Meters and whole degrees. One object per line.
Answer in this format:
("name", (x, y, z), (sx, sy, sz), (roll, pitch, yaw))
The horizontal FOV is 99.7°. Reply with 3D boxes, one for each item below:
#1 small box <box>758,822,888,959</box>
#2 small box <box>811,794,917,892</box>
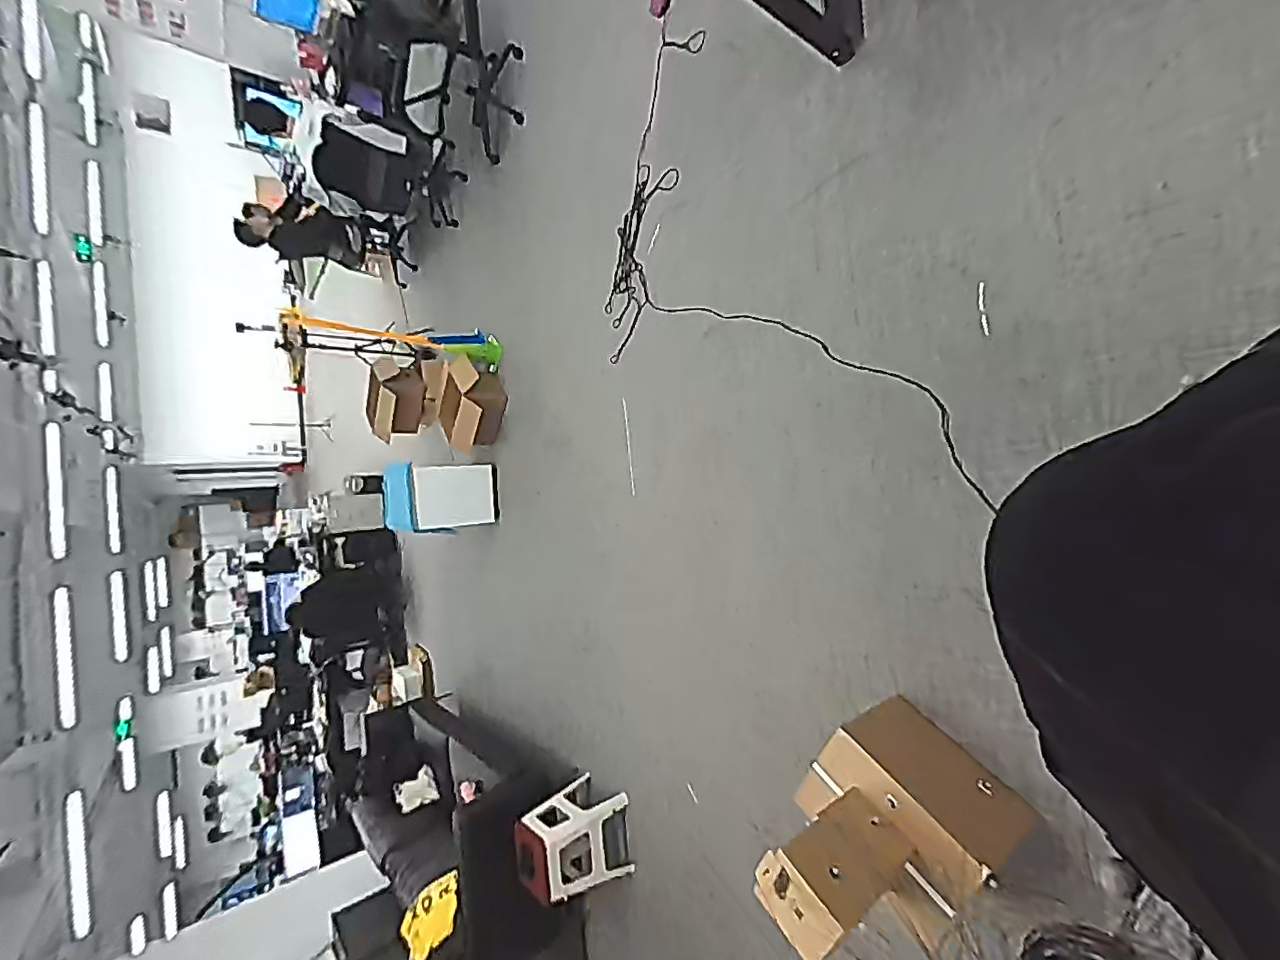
("small box", (0.397, 0.889, 1.179), (0.179, 0.176, 0.168), (40, 124, 41))
("small box", (0.518, 0.889, 1.293), (0.179, 0.176, 0.168), (37, 122, 45))
